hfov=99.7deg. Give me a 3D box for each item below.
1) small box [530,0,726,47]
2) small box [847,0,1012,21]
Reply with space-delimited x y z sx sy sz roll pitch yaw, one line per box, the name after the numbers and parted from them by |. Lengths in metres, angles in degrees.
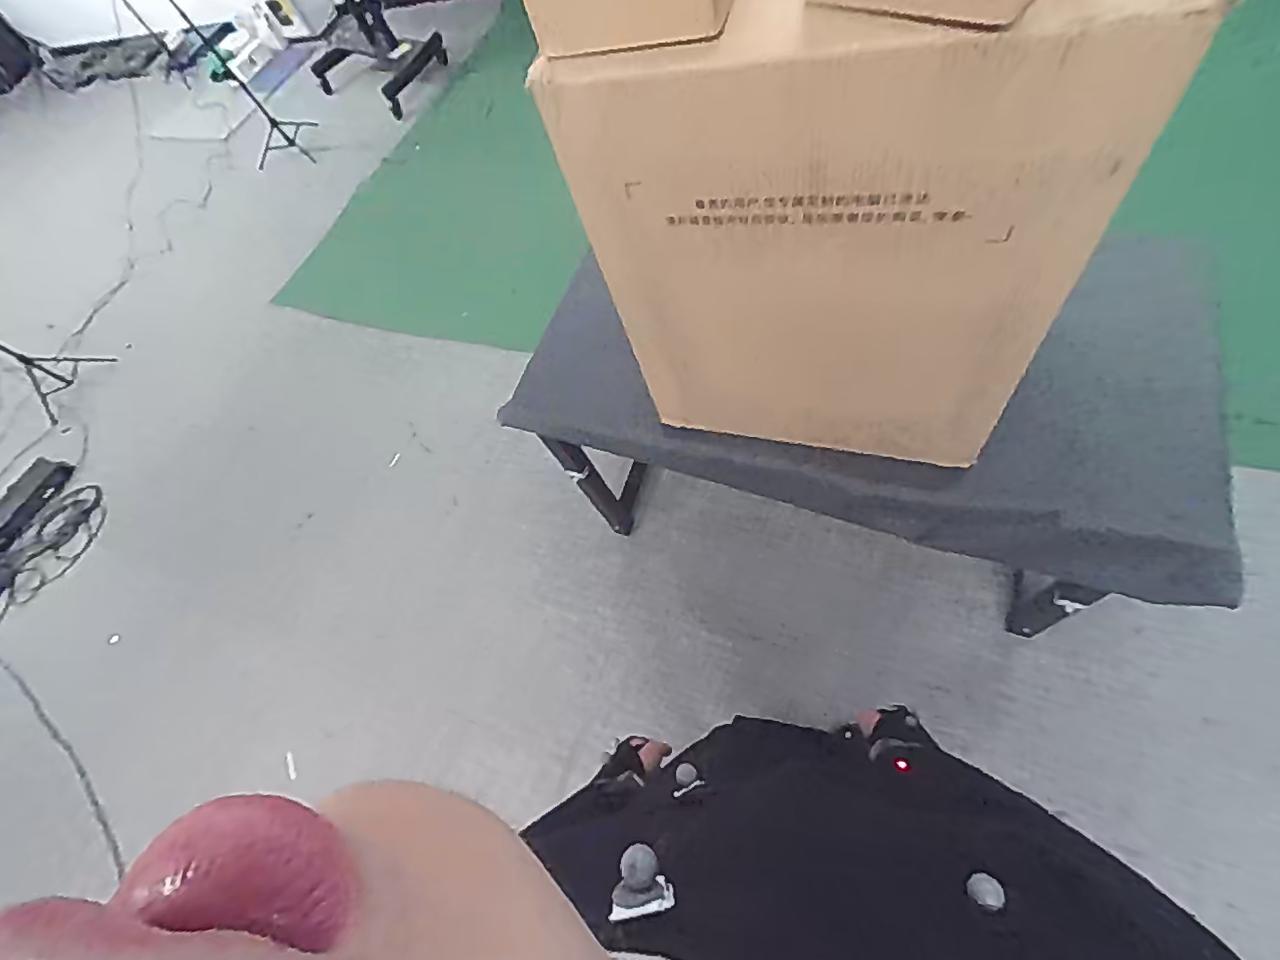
-0.013 -0.503 0.452 0.179 0.176 0.168 10 68 23 | small box
0.225 -0.457 0.357 0.168 0.176 0.179 36 79 28 | small box
